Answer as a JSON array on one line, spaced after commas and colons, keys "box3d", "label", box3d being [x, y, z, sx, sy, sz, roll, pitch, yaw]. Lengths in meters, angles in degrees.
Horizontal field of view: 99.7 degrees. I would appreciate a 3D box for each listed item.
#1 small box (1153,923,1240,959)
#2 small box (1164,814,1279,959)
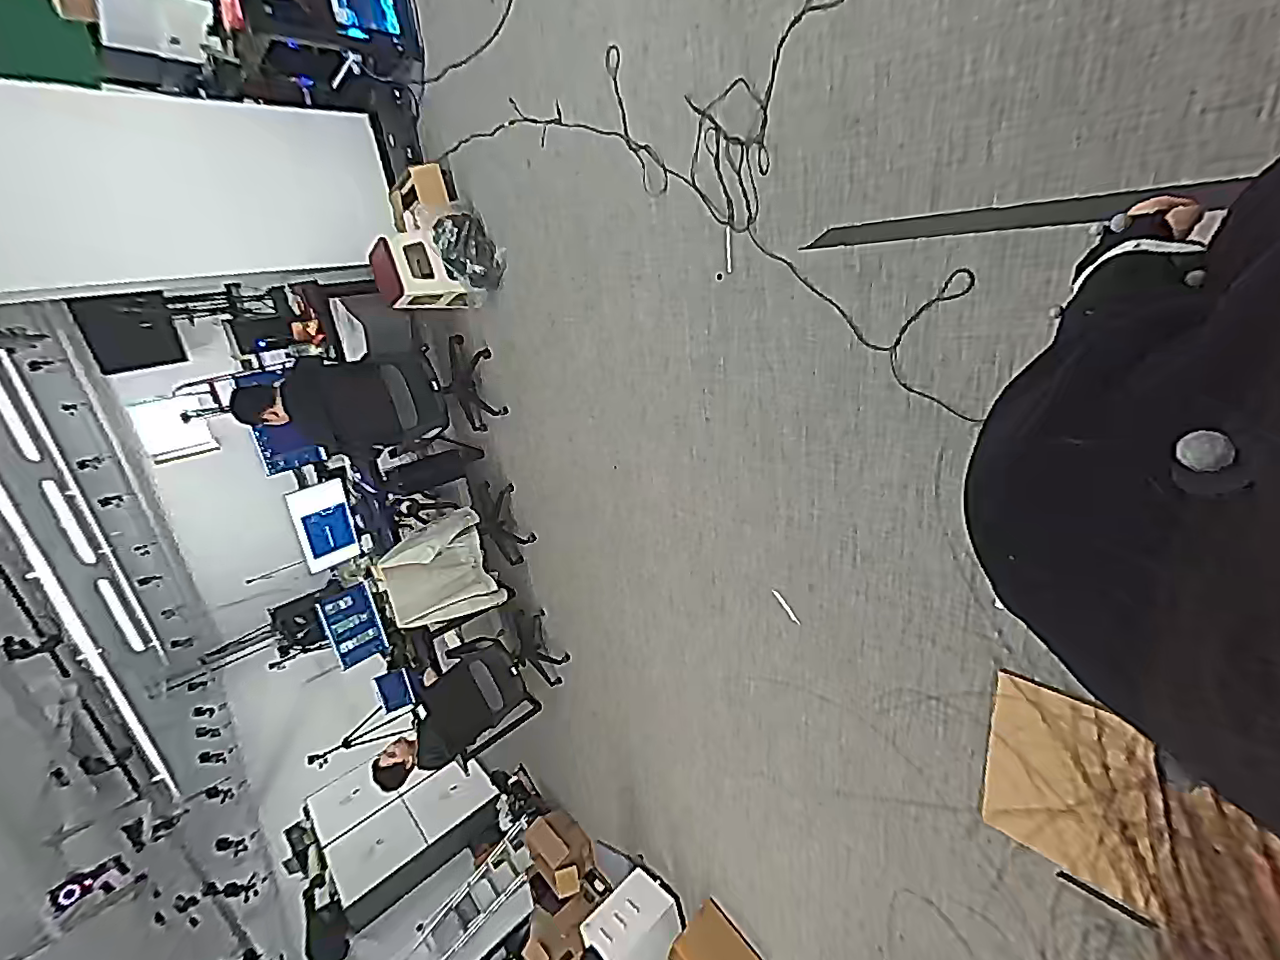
[{"box3d": [1.101, 1.031, 1.045, 0.168, 0.176, 0.179, 18, 122, 46], "label": "small box"}, {"box3d": [1.346, 0.920, 1.236, 0.168, 0.176, 0.179, 21, 125, 45], "label": "small box"}]
